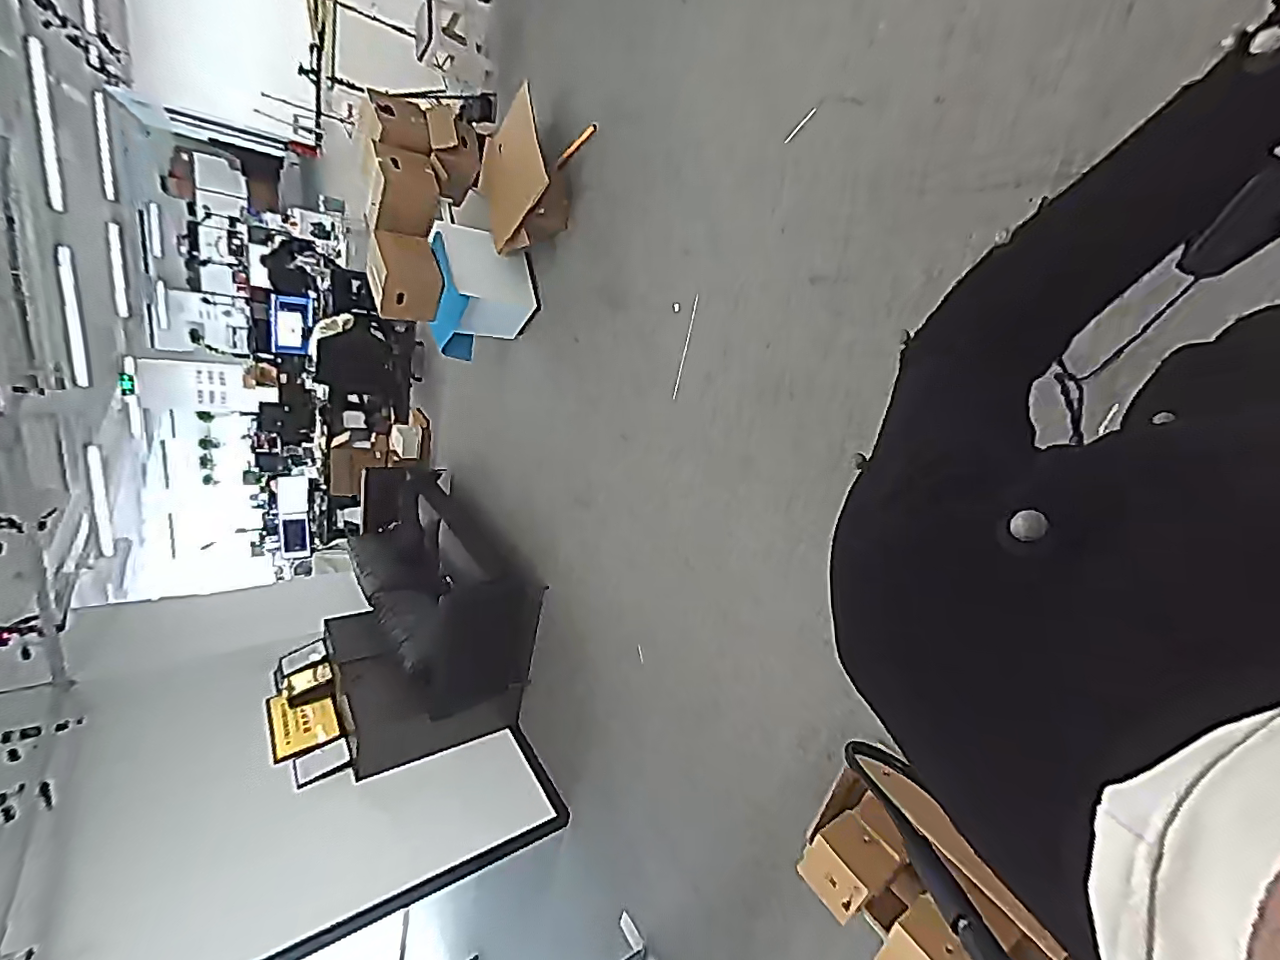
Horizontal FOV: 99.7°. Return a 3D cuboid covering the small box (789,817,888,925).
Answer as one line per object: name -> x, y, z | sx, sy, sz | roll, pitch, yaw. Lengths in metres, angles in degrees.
small box -> 0.575, 1.118, 1.565 | 0.179, 0.176, 0.168 | 41, 122, 43

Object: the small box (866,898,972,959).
small box -> 0.719, 1.236, 1.390 | 0.168, 0.176, 0.179 | 36, 119, 48
